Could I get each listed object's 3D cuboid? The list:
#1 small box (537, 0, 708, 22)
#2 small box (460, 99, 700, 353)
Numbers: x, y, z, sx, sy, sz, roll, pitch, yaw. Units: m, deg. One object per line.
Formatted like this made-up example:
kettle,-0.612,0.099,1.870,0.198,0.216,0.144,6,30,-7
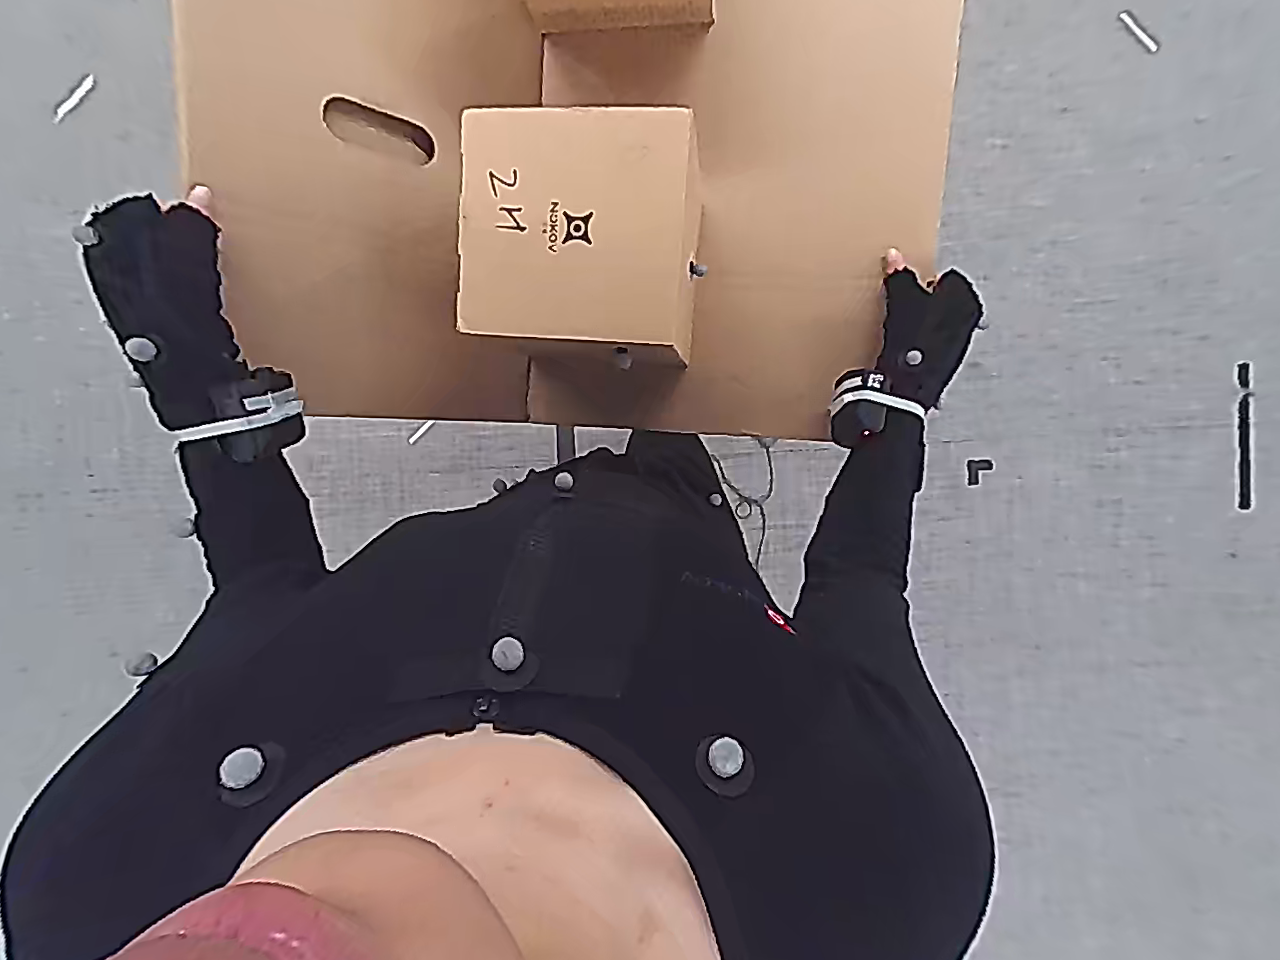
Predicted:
small box,-0.024,-0.527,0.449,0.179,0.176,0.168,3,98,8
small box,-0.041,-0.210,0.491,0.179,0.176,0.168,6,98,8
